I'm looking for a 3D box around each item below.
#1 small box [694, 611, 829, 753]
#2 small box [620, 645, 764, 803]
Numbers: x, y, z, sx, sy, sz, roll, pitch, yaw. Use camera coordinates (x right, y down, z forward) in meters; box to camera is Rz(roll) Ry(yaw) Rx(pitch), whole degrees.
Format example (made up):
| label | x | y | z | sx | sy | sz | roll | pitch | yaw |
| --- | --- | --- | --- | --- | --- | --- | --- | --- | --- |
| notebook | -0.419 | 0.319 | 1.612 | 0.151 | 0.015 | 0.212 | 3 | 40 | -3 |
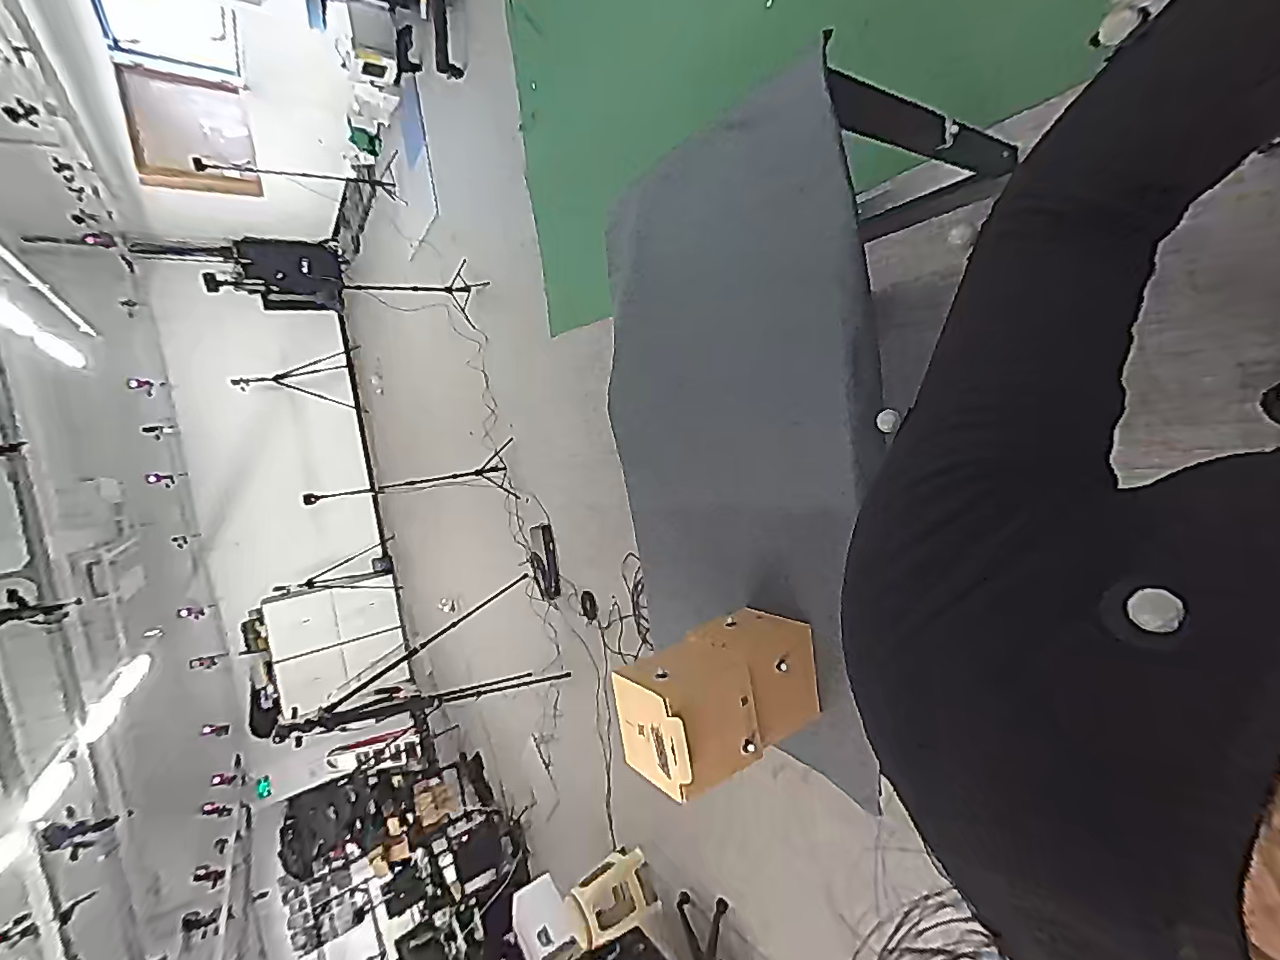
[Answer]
| label | x | y | z | sx | sy | sz | roll | pitch | yaw |
| --- | --- | --- | --- | --- | --- | --- | --- | --- | --- |
| small box | 0.226 | 0.358 | 1.001 | 0.168 | 0.176 | 0.179 | -1 | 99 | 58 |
| small box | 0.092 | 0.394 | 0.912 | 0.179 | 0.176 | 0.168 | -9 | 92 | 59 |
